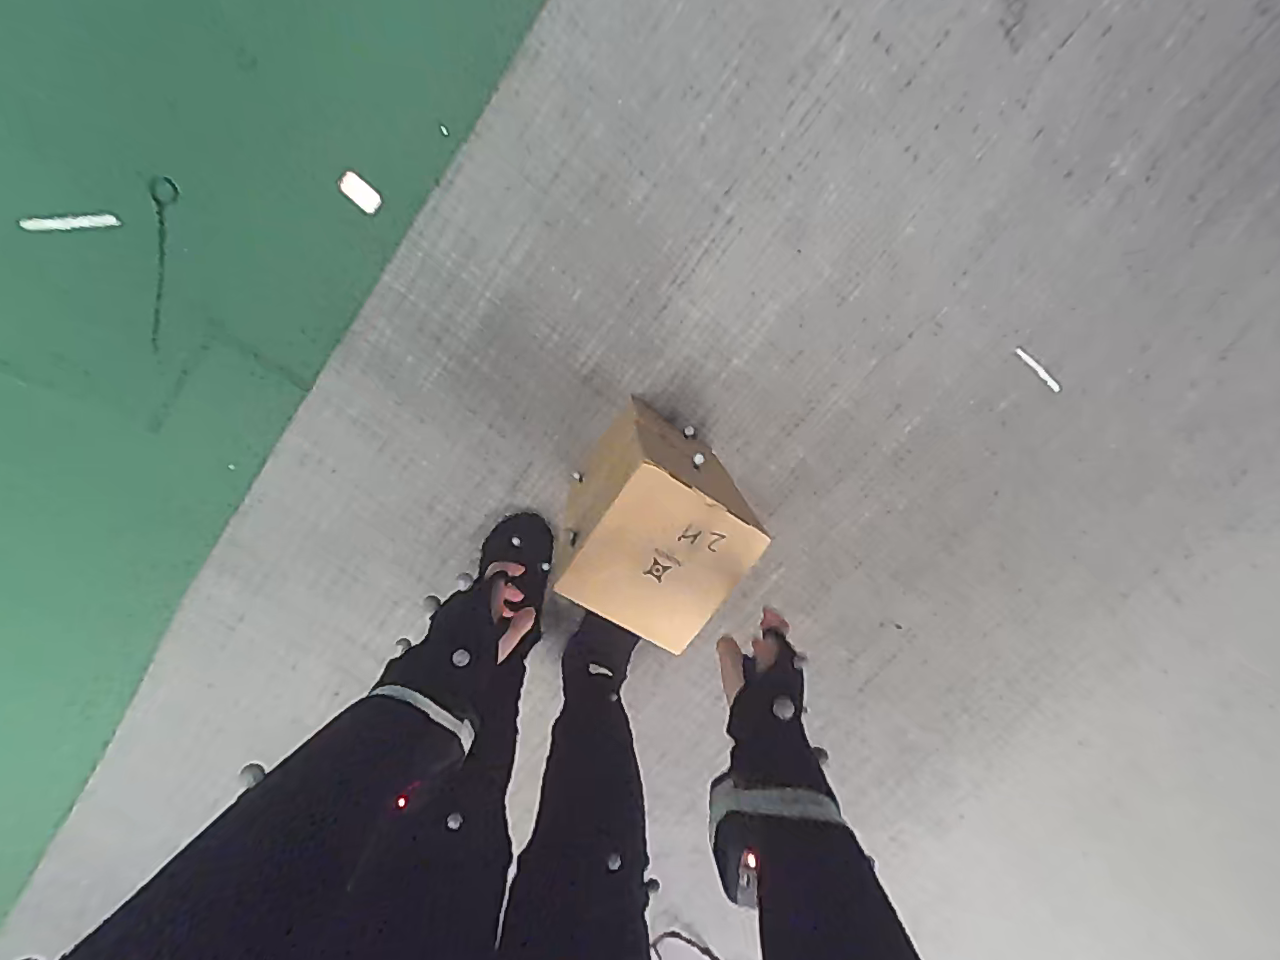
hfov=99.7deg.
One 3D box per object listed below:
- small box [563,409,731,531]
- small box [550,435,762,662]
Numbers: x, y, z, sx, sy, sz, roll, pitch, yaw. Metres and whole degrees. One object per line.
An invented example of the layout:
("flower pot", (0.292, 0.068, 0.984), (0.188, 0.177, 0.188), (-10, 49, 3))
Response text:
("small box", (0.006, 0.019, 0.805), (0.168, 0.176, 0.179), (33, 103, -14))
("small box", (0.013, 0.072, 0.650), (0.168, 0.176, 0.179), (32, 104, -14))
